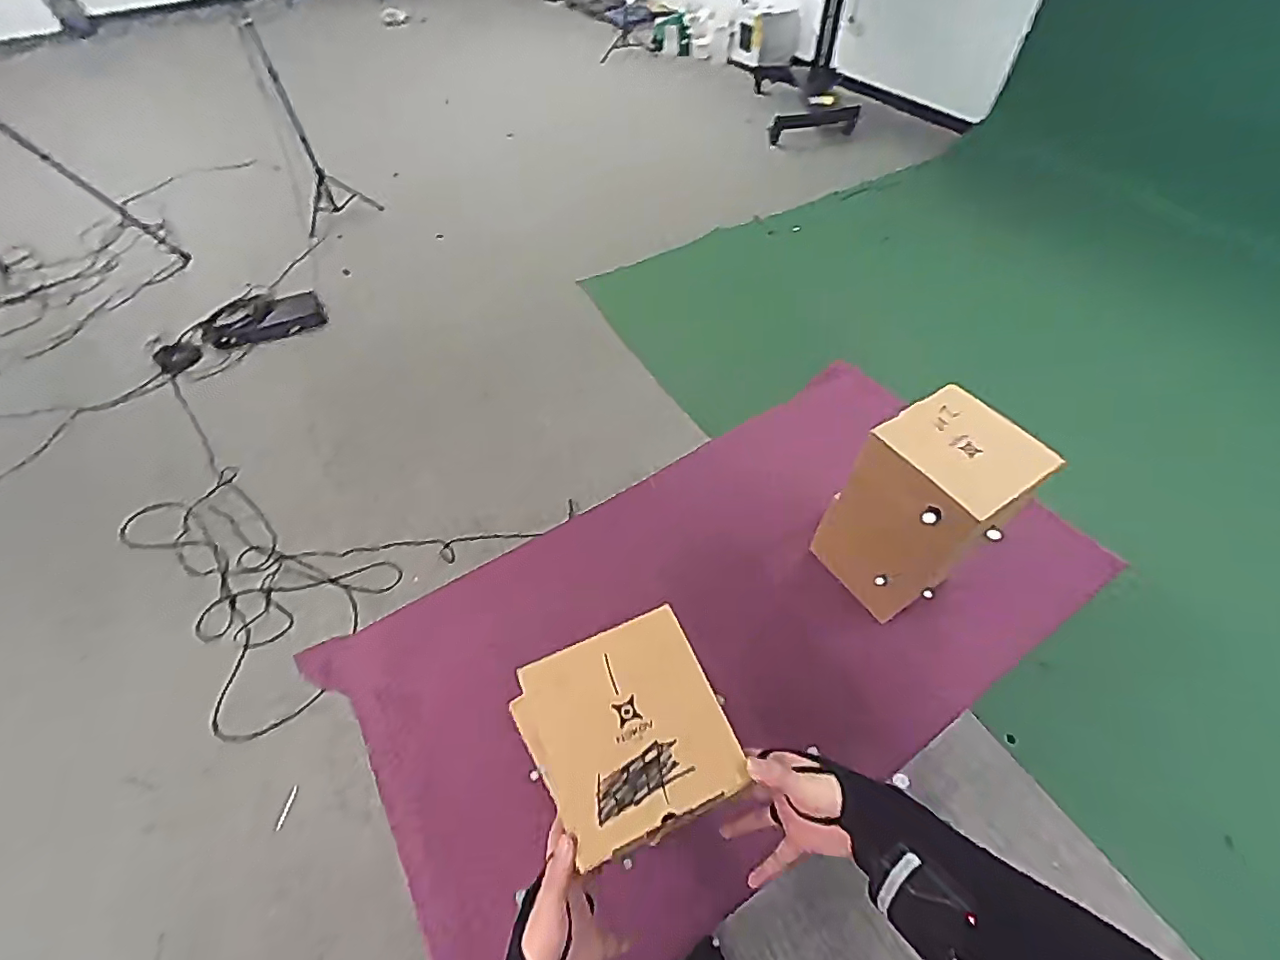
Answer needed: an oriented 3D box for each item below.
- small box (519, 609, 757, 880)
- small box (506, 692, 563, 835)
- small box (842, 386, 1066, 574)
[{"bbox_3d":[-0.005,0.264,0.544,0.168,0.176,0.179,-20,57,-12],"label":"small box"},{"bbox_3d":[-0.055,0.349,0.714,0.168,0.176,0.179,-28,58,-18],"label":"small box"},{"bbox_3d":[0.419,0.007,0.754,0.168,0.176,0.179,-27,57,-18],"label":"small box"}]
